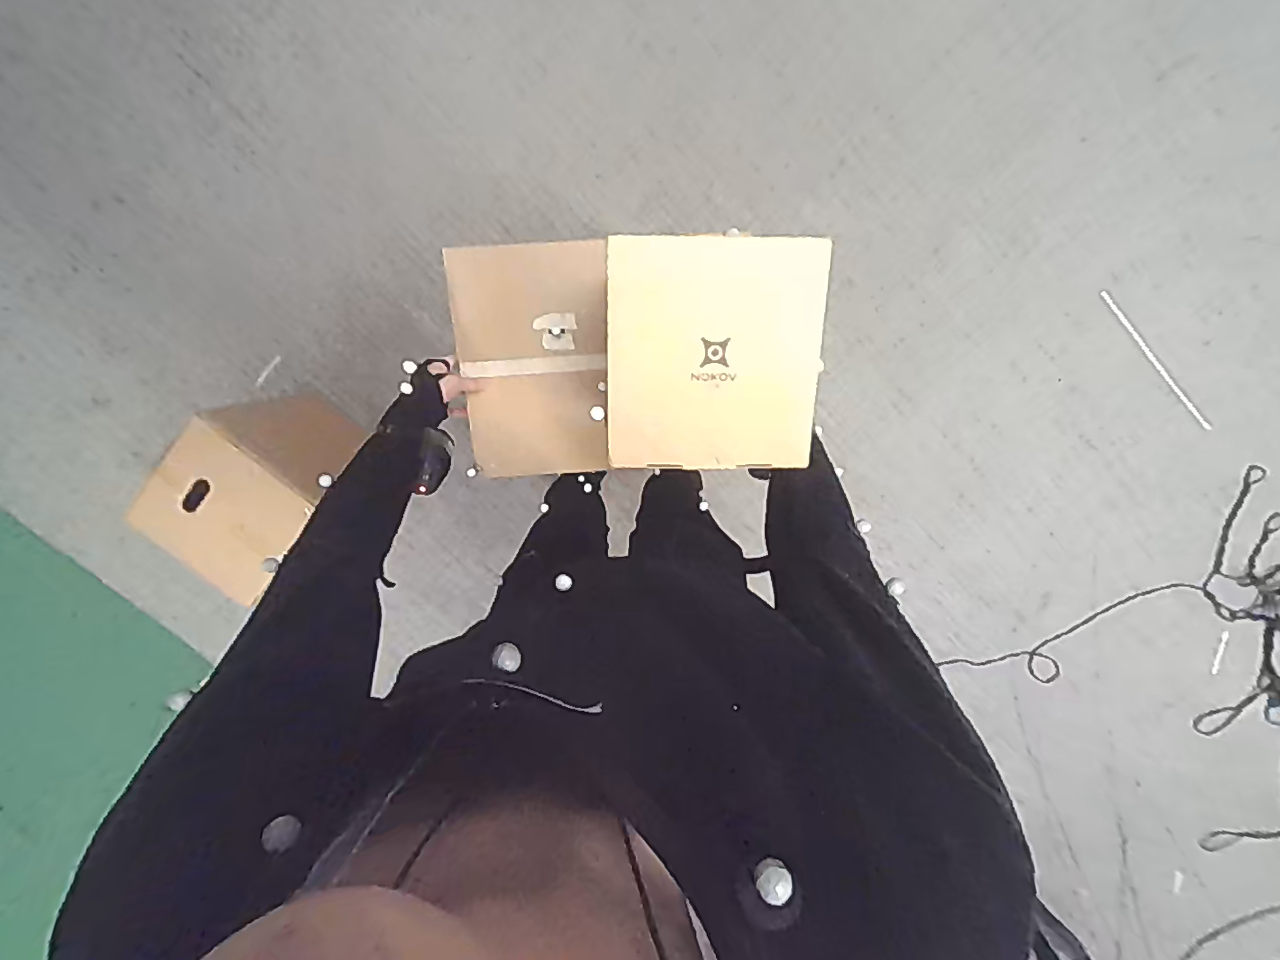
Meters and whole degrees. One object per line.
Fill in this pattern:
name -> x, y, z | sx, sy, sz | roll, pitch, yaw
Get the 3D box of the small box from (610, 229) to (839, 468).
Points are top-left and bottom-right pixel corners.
small box -> 0.057, -0.116, 0.485 | 0.168, 0.176, 0.179 | 0, 108, -3
